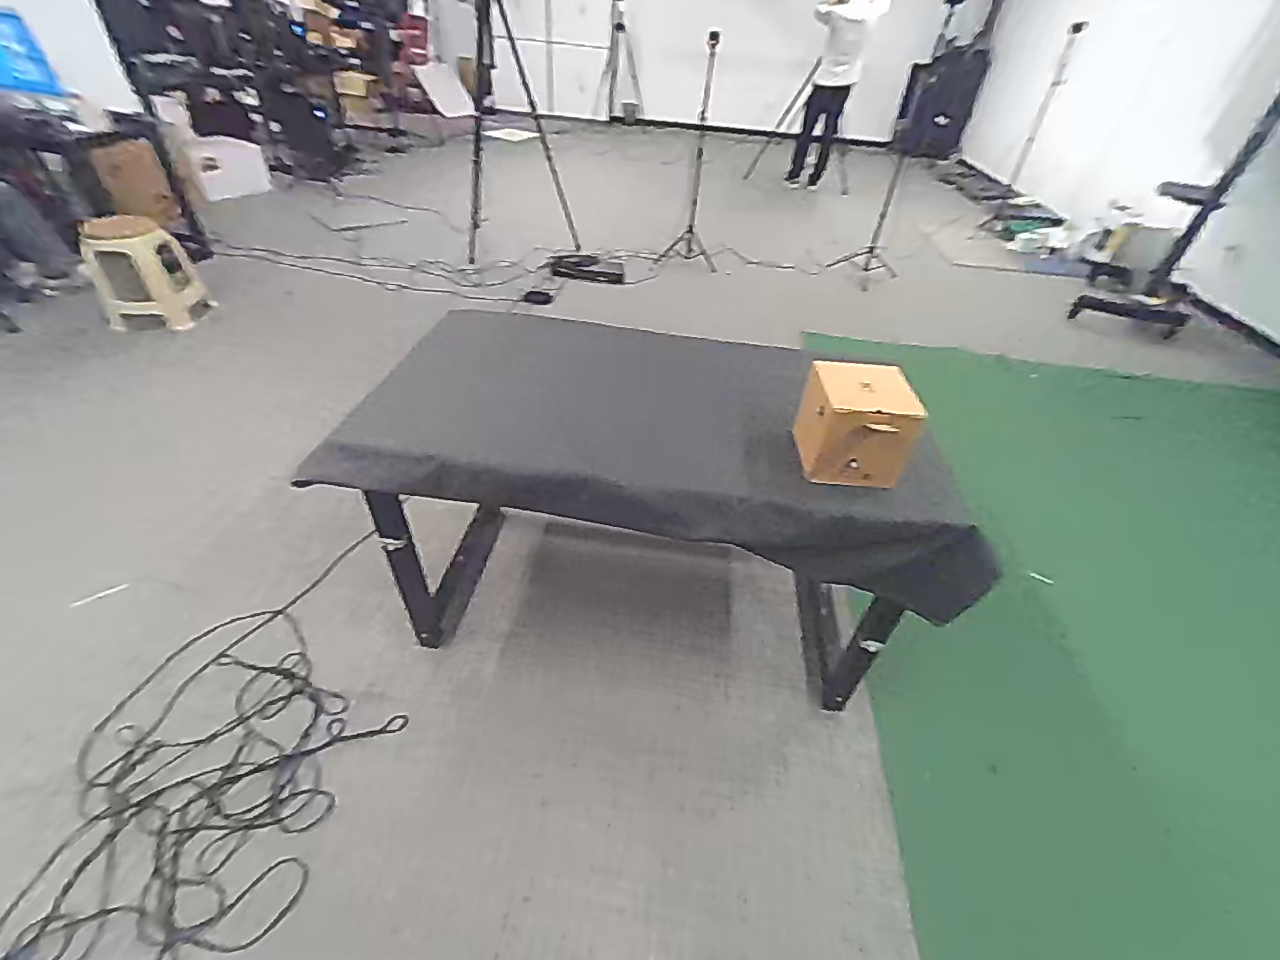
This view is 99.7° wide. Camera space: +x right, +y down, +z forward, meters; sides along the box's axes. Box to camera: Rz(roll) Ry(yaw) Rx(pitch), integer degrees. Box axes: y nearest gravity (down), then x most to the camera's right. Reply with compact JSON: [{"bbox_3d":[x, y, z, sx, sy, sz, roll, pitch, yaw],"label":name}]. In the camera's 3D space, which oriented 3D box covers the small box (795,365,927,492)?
[{"bbox_3d":[0.409,-0.100,1.038,0.168,0.176,0.179,4,40,0],"label":"small box"}]
